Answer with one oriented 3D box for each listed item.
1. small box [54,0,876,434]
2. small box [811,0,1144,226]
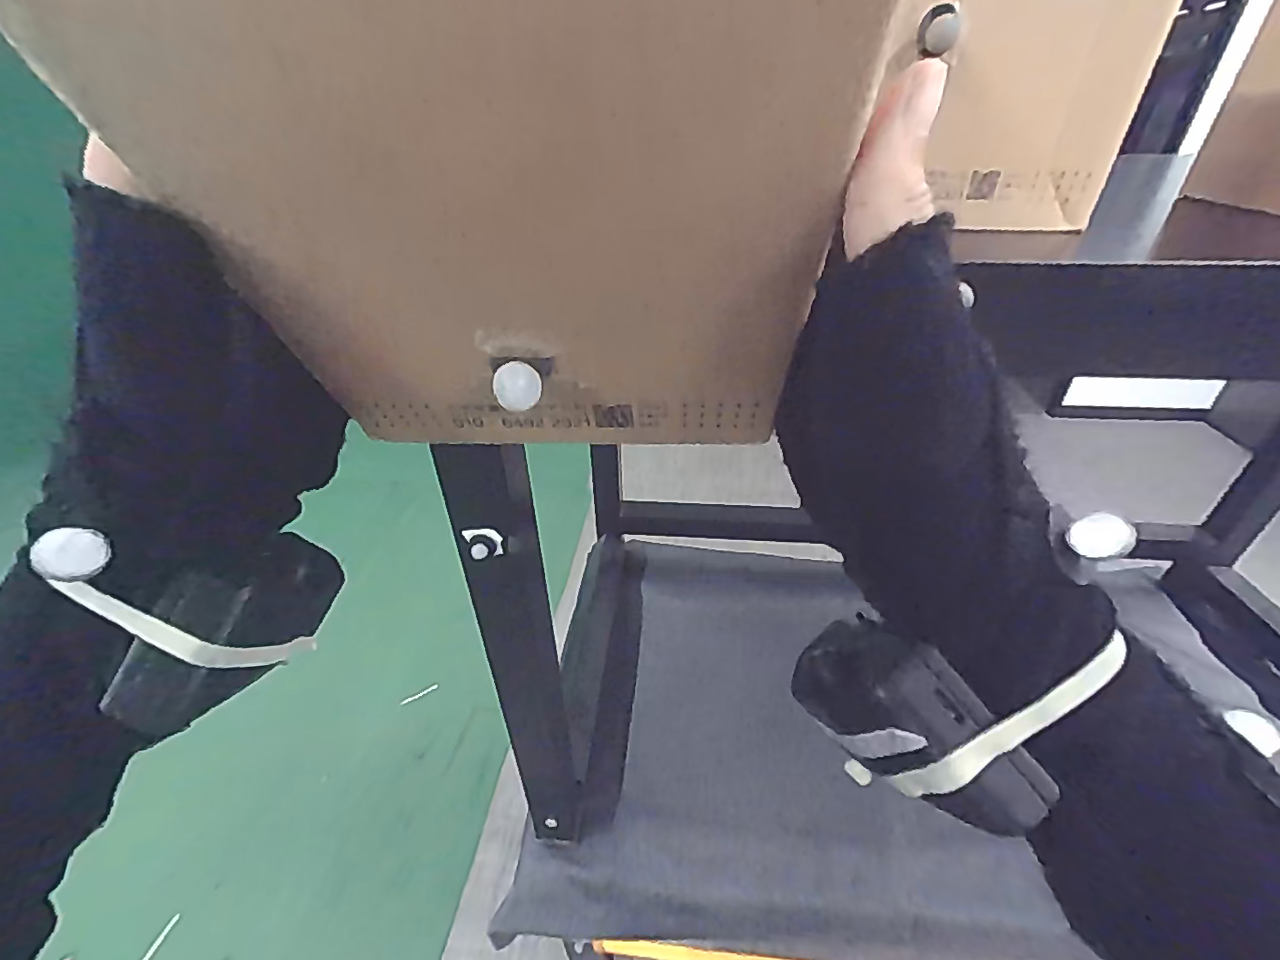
[{"bbox_3d":[-0.033,-0.135,0.192,0.168,0.176,0.179,0,63,4],"label":"small box"},{"bbox_3d":[0.180,-0.264,0.344,0.168,0.176,0.179,5,34,8],"label":"small box"}]
